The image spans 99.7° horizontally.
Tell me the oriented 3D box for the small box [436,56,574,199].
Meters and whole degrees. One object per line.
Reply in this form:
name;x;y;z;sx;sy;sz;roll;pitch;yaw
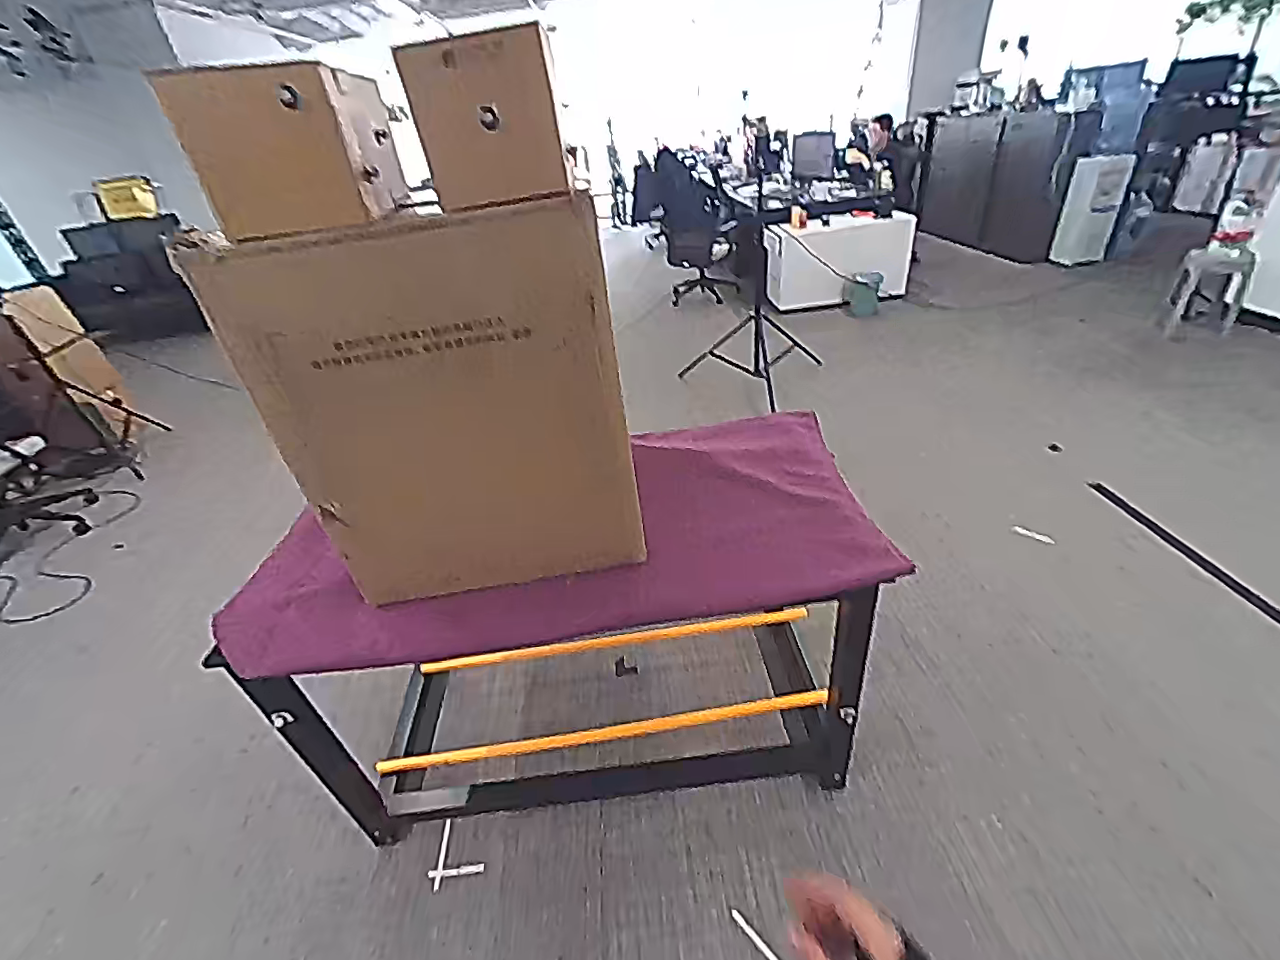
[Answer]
small box;-0.204;-0.563;0.876;0.168;0.176;0.179;-9;34;1
